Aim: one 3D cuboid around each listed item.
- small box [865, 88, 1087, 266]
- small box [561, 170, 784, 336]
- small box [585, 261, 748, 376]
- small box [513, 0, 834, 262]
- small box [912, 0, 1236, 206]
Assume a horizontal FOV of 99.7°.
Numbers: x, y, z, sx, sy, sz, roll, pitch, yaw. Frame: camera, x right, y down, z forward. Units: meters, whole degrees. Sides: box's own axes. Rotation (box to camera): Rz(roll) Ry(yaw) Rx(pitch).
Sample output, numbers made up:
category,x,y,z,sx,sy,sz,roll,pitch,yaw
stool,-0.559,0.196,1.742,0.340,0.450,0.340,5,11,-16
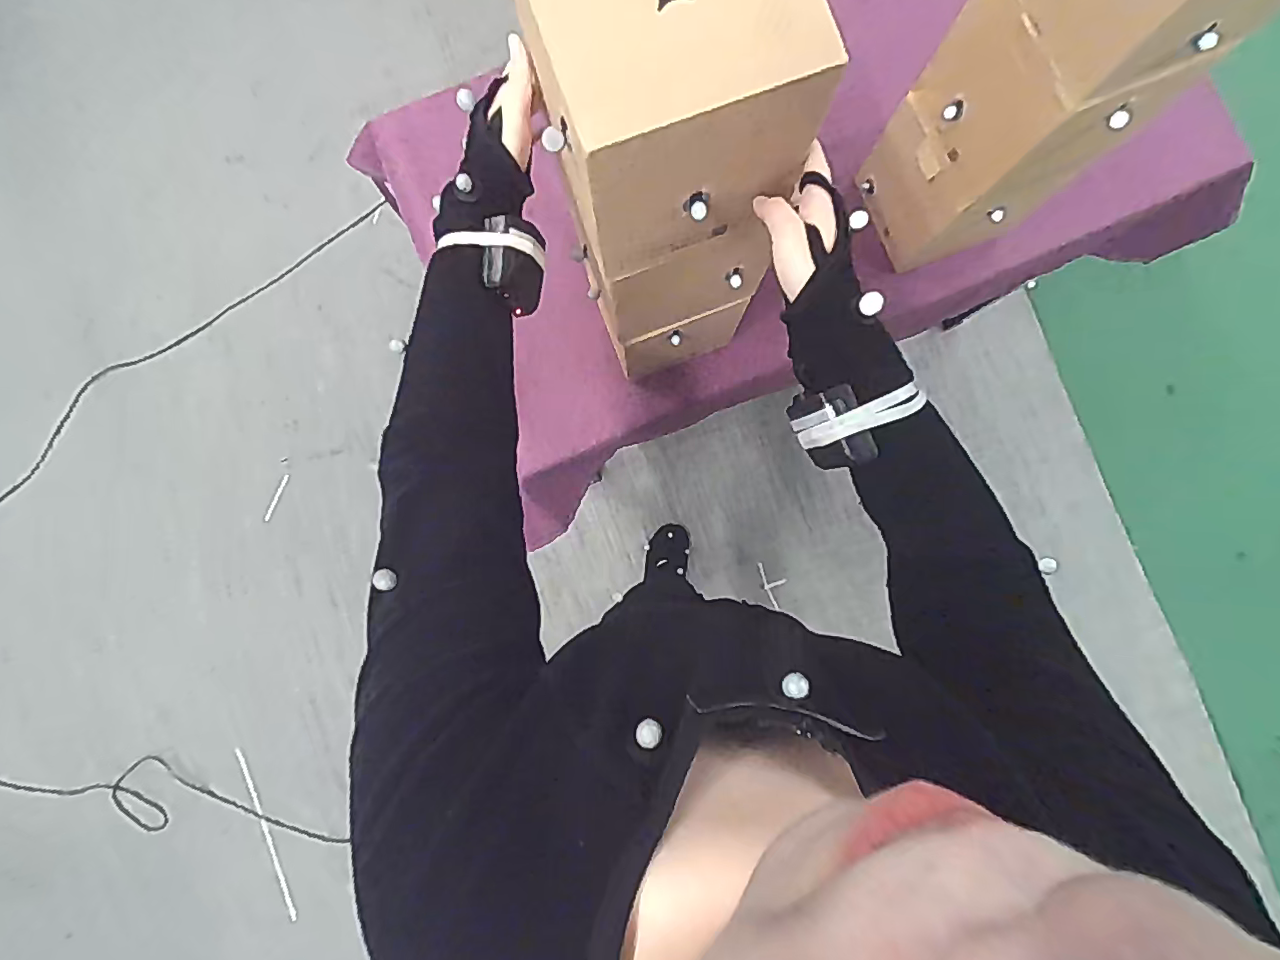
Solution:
category,x,y,z,sx,sy,sz,roll,pitch,yaw
small box,0.432,-0.422,0.735,0.179,0.176,0.168,-22,87,-1
small box,0.024,-0.275,0.566,0.179,0.176,0.168,-20,86,0
small box,0.025,-0.264,0.729,0.168,0.176,0.179,-21,86,0
small box,0.014,-0.288,0.402,0.168,0.176,0.179,-19,86,-1
small box,0.433,-0.433,0.572,0.179,0.176,0.168,-22,87,0
